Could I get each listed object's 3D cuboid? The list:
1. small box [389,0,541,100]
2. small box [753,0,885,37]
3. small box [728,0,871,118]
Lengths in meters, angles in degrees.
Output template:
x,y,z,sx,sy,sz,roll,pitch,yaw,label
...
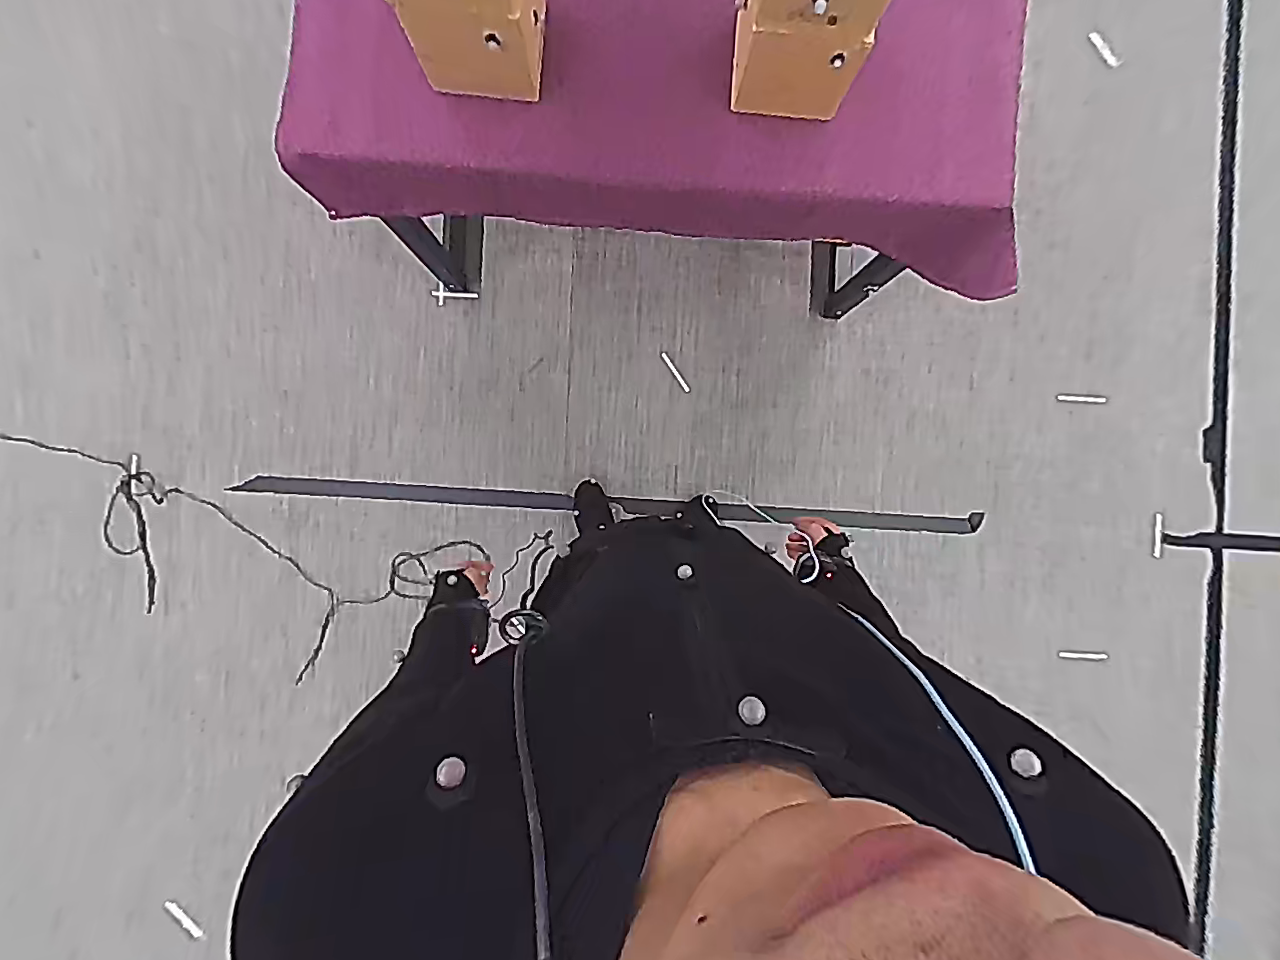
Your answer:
x,y,z,sx,sy,sz,roll,pitch,yaw,label
-0.250,-0.713,0.812,0.179,0.176,0.168,5,90,-2,small box
0.243,-0.706,0.668,0.168,0.176,0.179,4,90,-2,small box
0.238,-0.694,0.832,0.179,0.176,0.168,4,90,-2,small box
